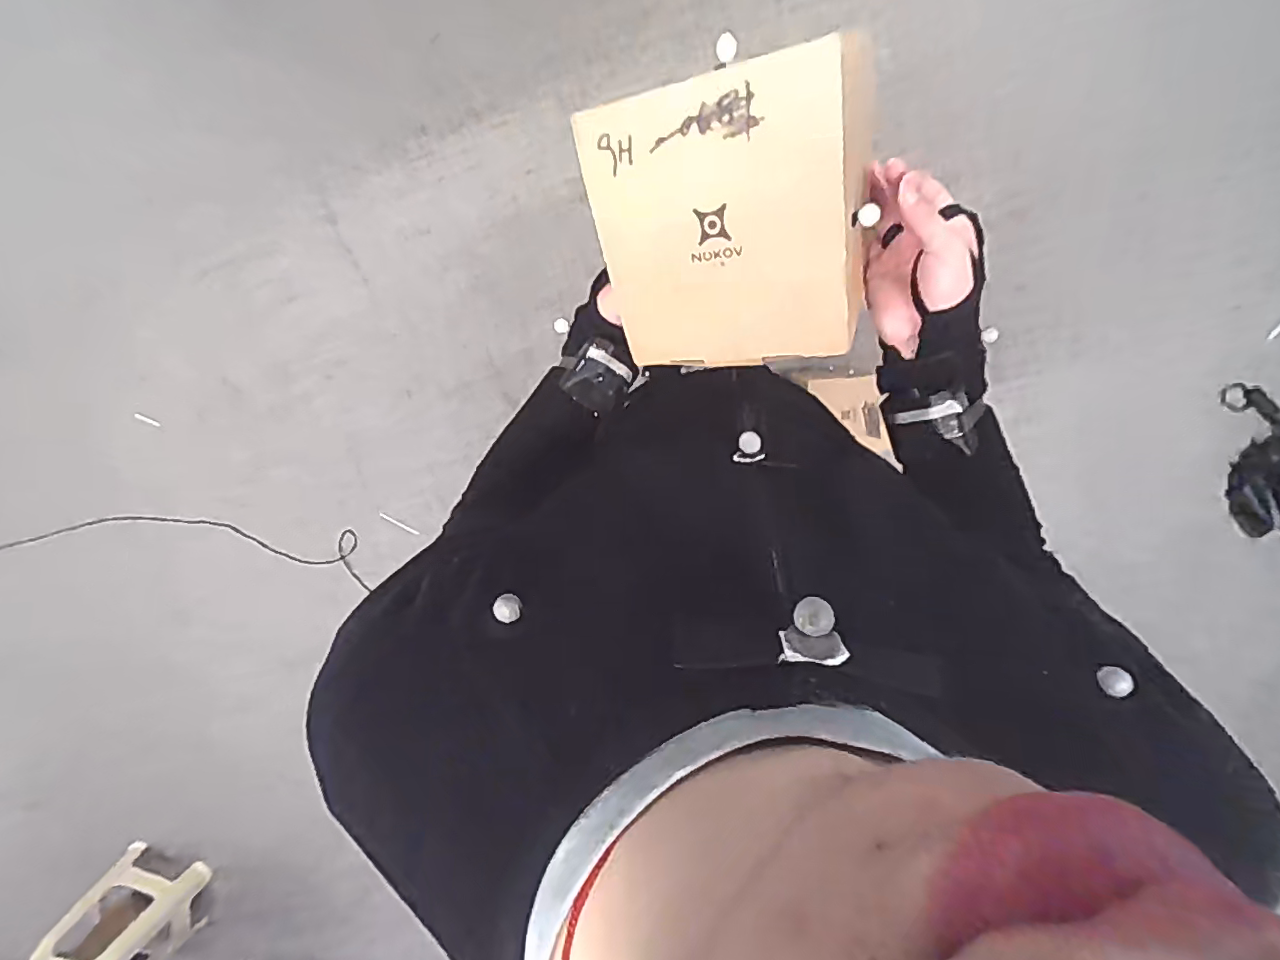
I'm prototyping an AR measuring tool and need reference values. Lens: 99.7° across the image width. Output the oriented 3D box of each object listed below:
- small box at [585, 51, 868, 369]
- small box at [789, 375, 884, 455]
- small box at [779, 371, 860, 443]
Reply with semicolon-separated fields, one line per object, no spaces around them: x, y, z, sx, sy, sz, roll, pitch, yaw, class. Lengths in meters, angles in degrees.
0.085;-0.205;0.424;0.168;0.176;0.179;3;128;25;small box
0.452;-0.156;1.266;0.179;0.176;0.168;-2;102;7;small box
0.469;-0.196;1.425;0.179;0.176;0.168;-4;102;8;small box
